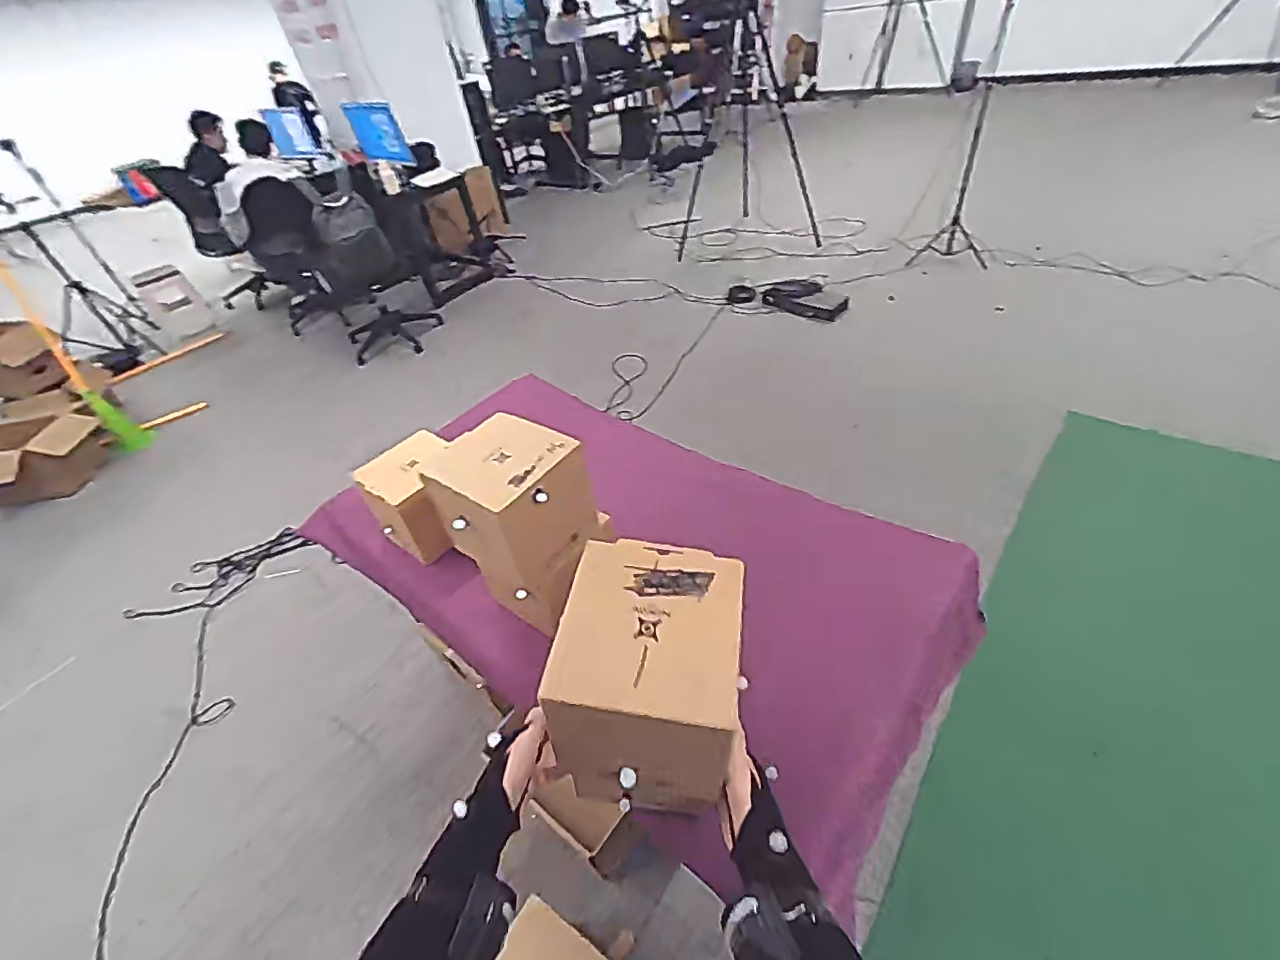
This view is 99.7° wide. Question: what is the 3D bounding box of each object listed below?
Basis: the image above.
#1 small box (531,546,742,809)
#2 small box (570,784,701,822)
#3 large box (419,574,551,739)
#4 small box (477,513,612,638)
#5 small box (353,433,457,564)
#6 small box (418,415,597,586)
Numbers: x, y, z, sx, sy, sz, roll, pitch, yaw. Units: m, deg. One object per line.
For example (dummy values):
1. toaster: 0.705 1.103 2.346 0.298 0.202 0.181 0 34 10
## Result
1. small box: 0.005 0.193 0.538 0.168 0.176 0.179 6 44 8
2. small box: 0.002 0.294 0.672 0.168 0.176 0.179 5 44 4
3. large box: -0.354 0.465 1.612 0.320 0.320 0.408 23 52 32
4. small box: -0.153 0.144 0.926 0.179 0.176 0.168 22 49 32
5. small box: -0.436 0.036 1.106 0.168 0.176 0.179 24 51 32
6. small box: -0.189 0.030 0.811 0.179 0.176 0.168 21 50 31
